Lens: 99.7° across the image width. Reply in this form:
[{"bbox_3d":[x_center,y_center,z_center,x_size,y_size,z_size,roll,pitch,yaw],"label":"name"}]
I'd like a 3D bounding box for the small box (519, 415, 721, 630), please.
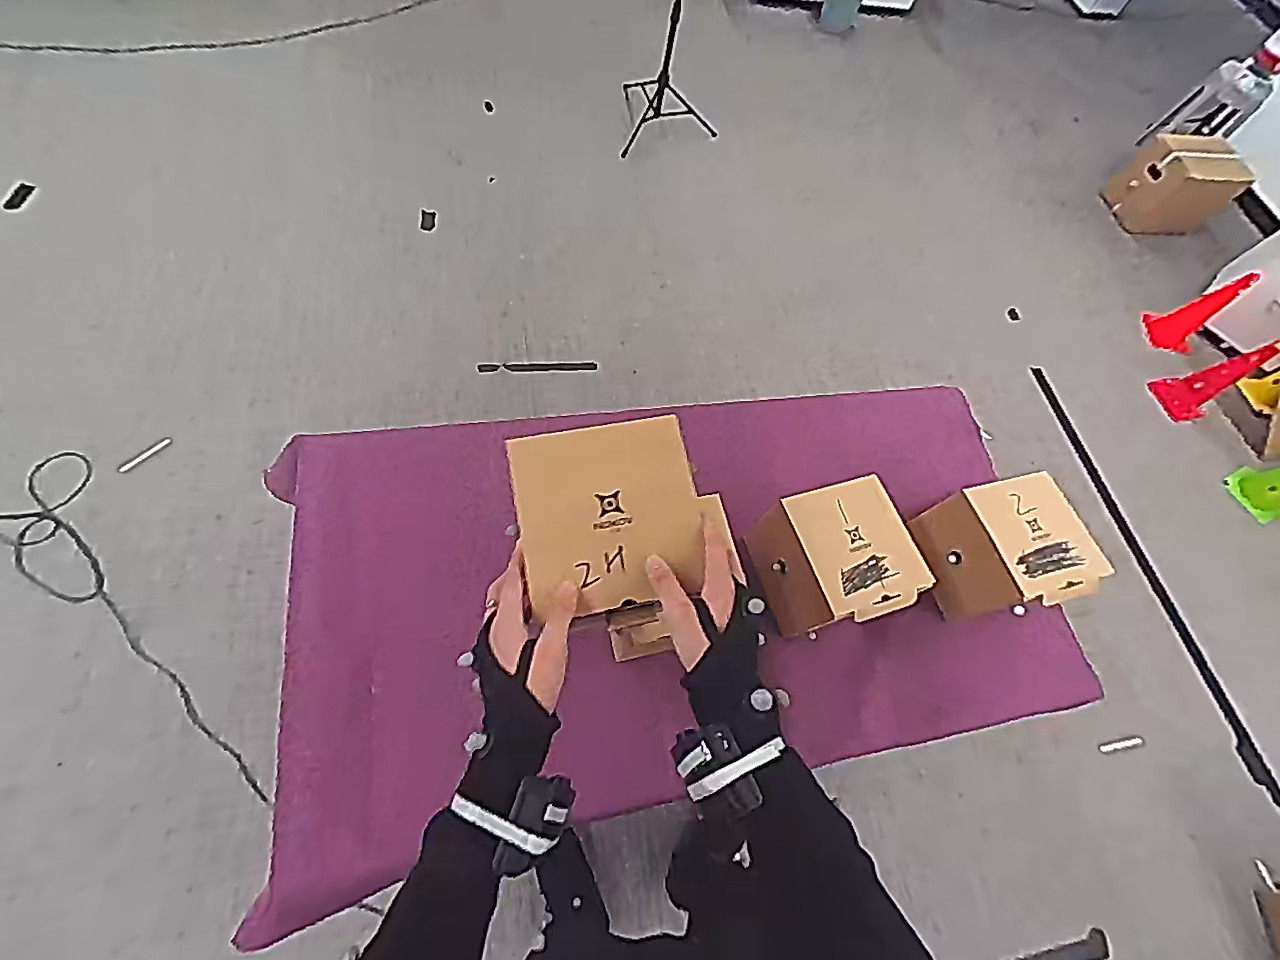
[{"bbox_3d":[-0.030,0.053,0.569,0.168,0.176,0.179,-9,73,-9],"label":"small box"}]

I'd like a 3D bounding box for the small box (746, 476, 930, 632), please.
[{"bbox_3d":[0.284,0.120,0.818,0.168,0.176,0.179,-13,67,-15],"label":"small box"}]

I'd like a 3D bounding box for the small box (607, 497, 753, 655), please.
[{"bbox_3d":[0.037,0.143,0.767,0.168,0.176,0.179,-8,66,-14],"label":"small box"}]
